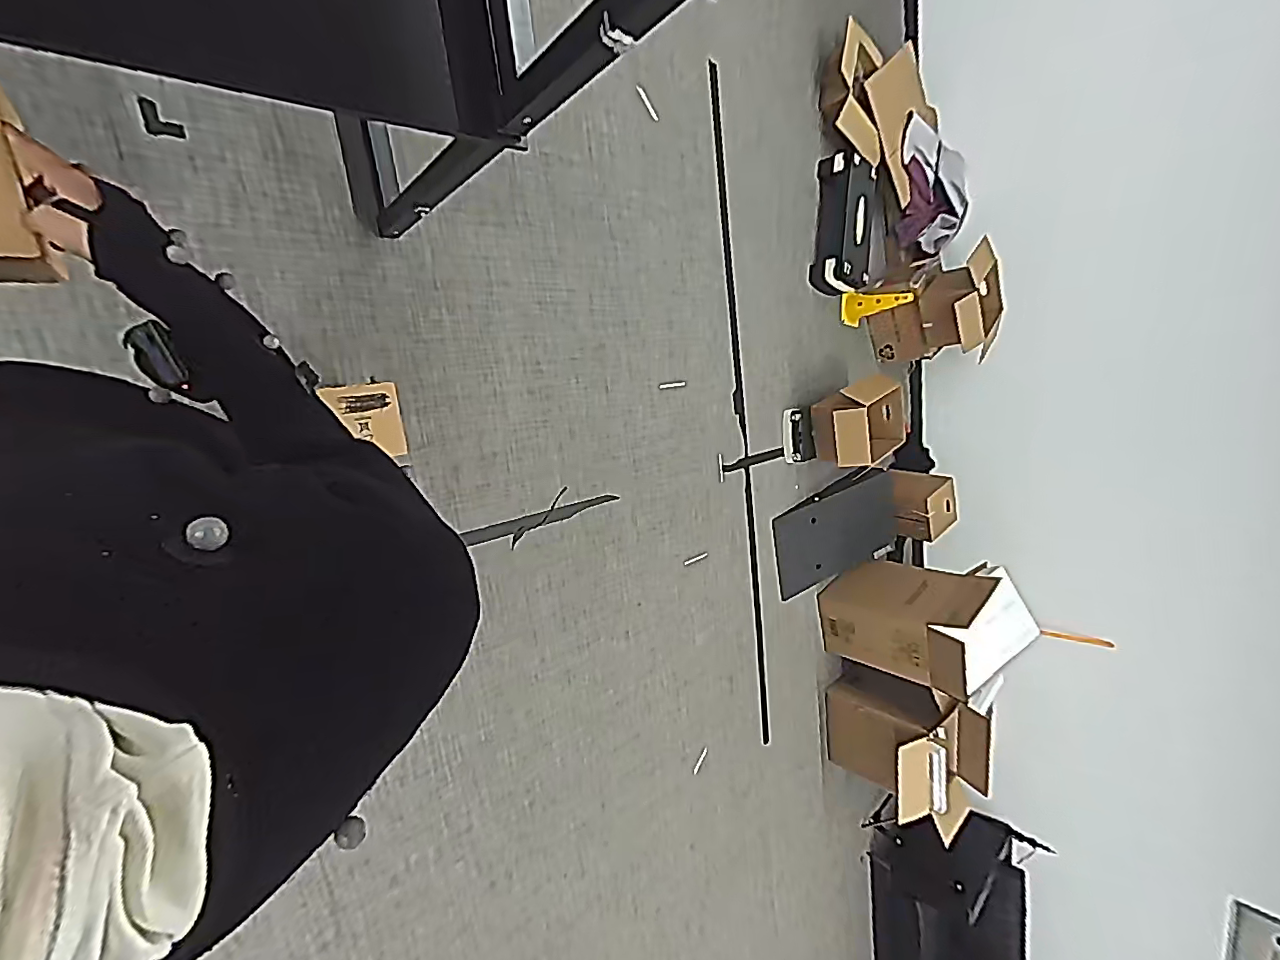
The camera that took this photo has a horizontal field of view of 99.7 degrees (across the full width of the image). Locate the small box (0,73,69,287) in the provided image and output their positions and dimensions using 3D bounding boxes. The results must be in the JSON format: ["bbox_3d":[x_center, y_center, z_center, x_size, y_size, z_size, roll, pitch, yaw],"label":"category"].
[{"bbox_3d":[-0.638,-0.263,0.464,0.179,0.176,0.168,-15,108,-37],"label":"small box"}]
